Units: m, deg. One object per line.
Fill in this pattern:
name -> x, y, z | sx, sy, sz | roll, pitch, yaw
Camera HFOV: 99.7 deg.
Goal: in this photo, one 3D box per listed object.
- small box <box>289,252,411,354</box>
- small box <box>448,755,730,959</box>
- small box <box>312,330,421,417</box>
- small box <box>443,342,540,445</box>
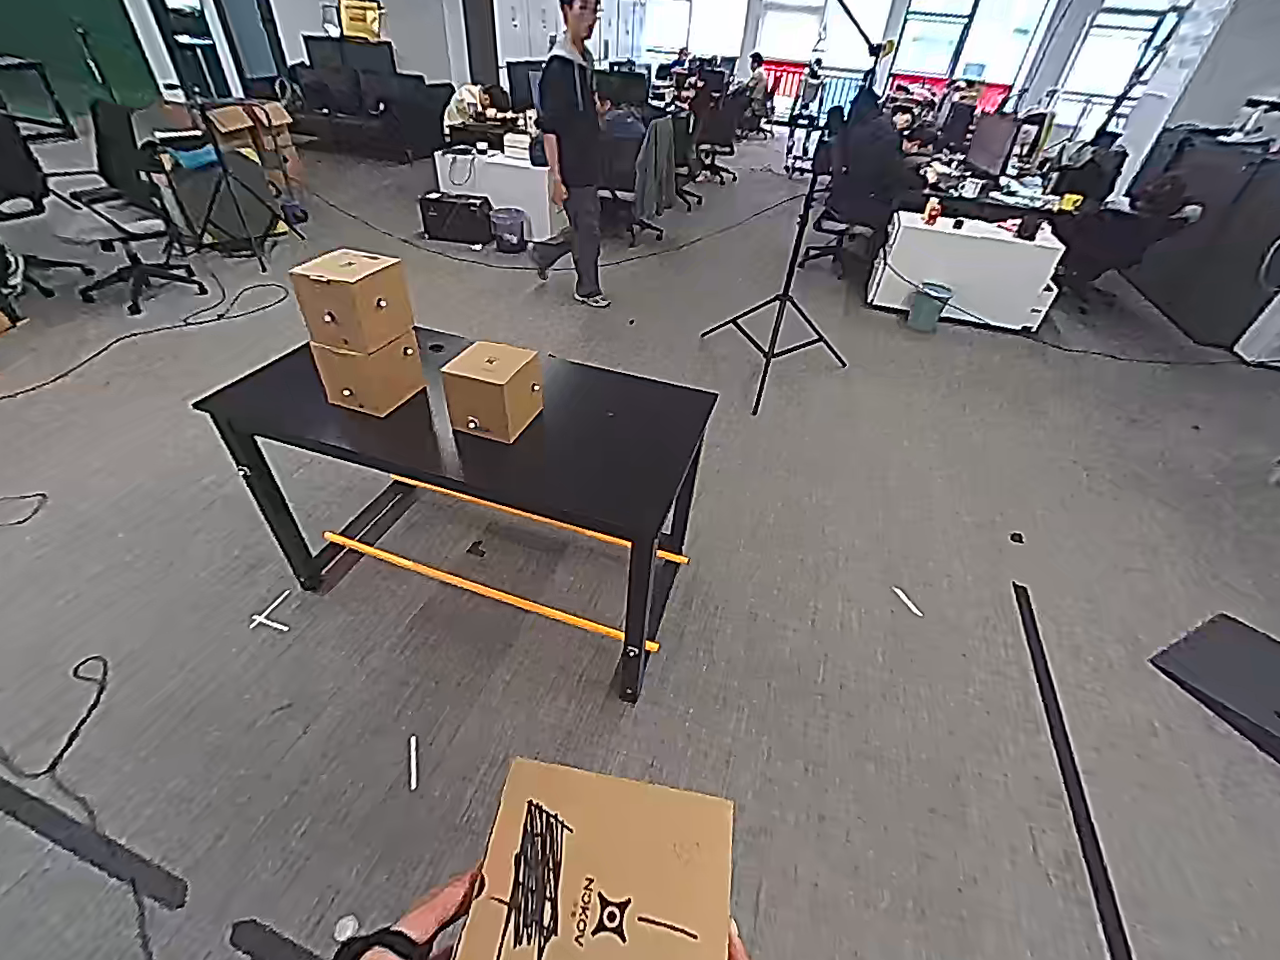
small box -> -0.668, -0.416, 1.274 | 0.168, 0.176, 0.179 | 14, 41, 10
small box -> -0.035, 0.339, 0.418 | 0.179, 0.176, 0.168 | 10, 47, 2
small box -> -0.680, -0.285, 1.372 | 0.168, 0.176, 0.179 | 16, 41, 13
small box -> -0.354, -0.213, 1.325 | 0.168, 0.176, 0.179 | 13, 41, 12
